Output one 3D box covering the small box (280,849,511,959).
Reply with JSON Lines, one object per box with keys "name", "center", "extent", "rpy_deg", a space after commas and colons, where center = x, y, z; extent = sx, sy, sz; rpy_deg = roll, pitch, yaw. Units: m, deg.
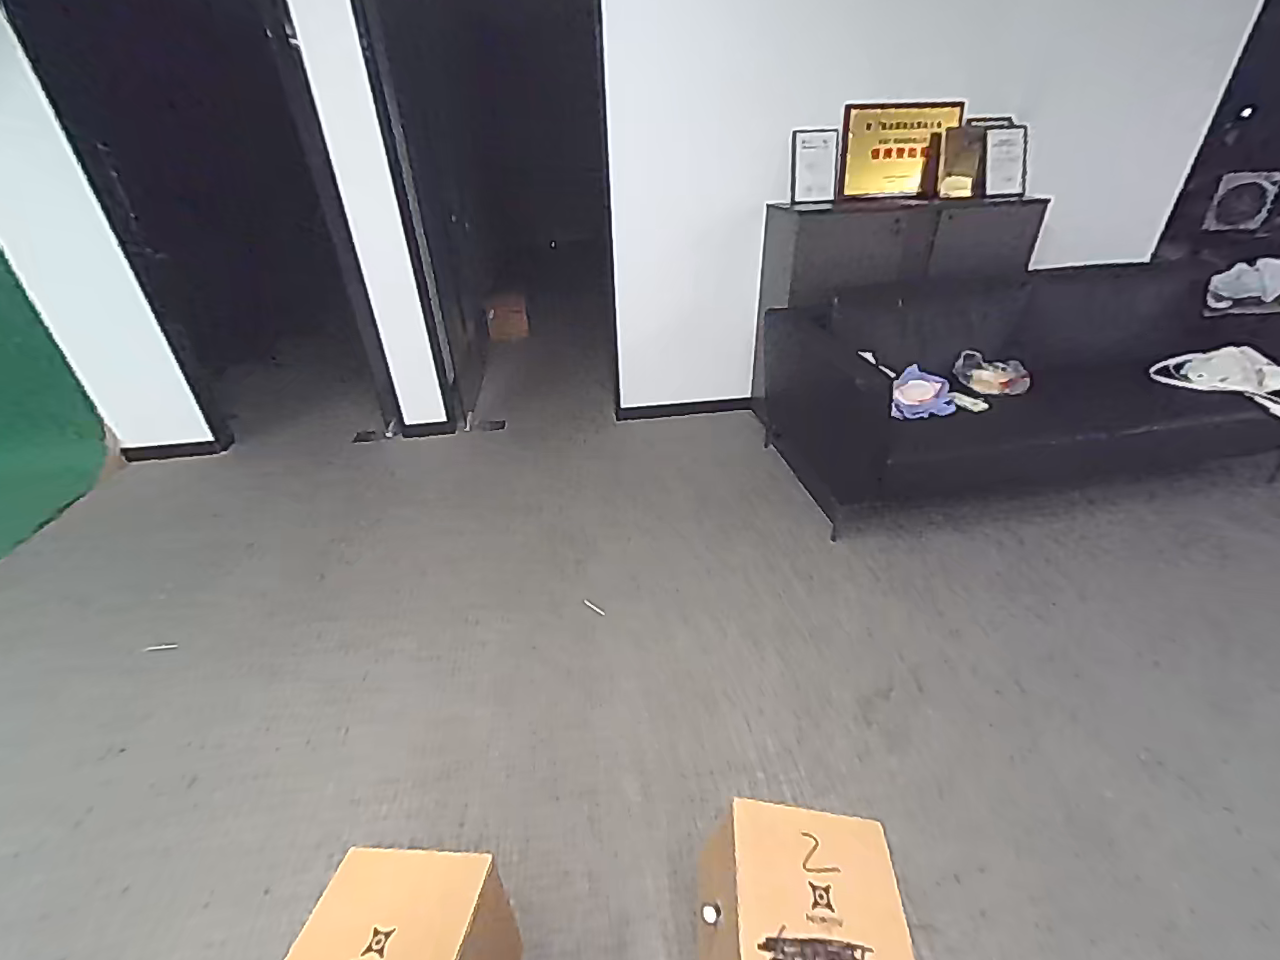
{"name": "small box", "center": [-0.236, 0.501, 0.521], "extent": [0.168, 0.176, 0.179], "rpy_deg": [-3, 24, 9]}
